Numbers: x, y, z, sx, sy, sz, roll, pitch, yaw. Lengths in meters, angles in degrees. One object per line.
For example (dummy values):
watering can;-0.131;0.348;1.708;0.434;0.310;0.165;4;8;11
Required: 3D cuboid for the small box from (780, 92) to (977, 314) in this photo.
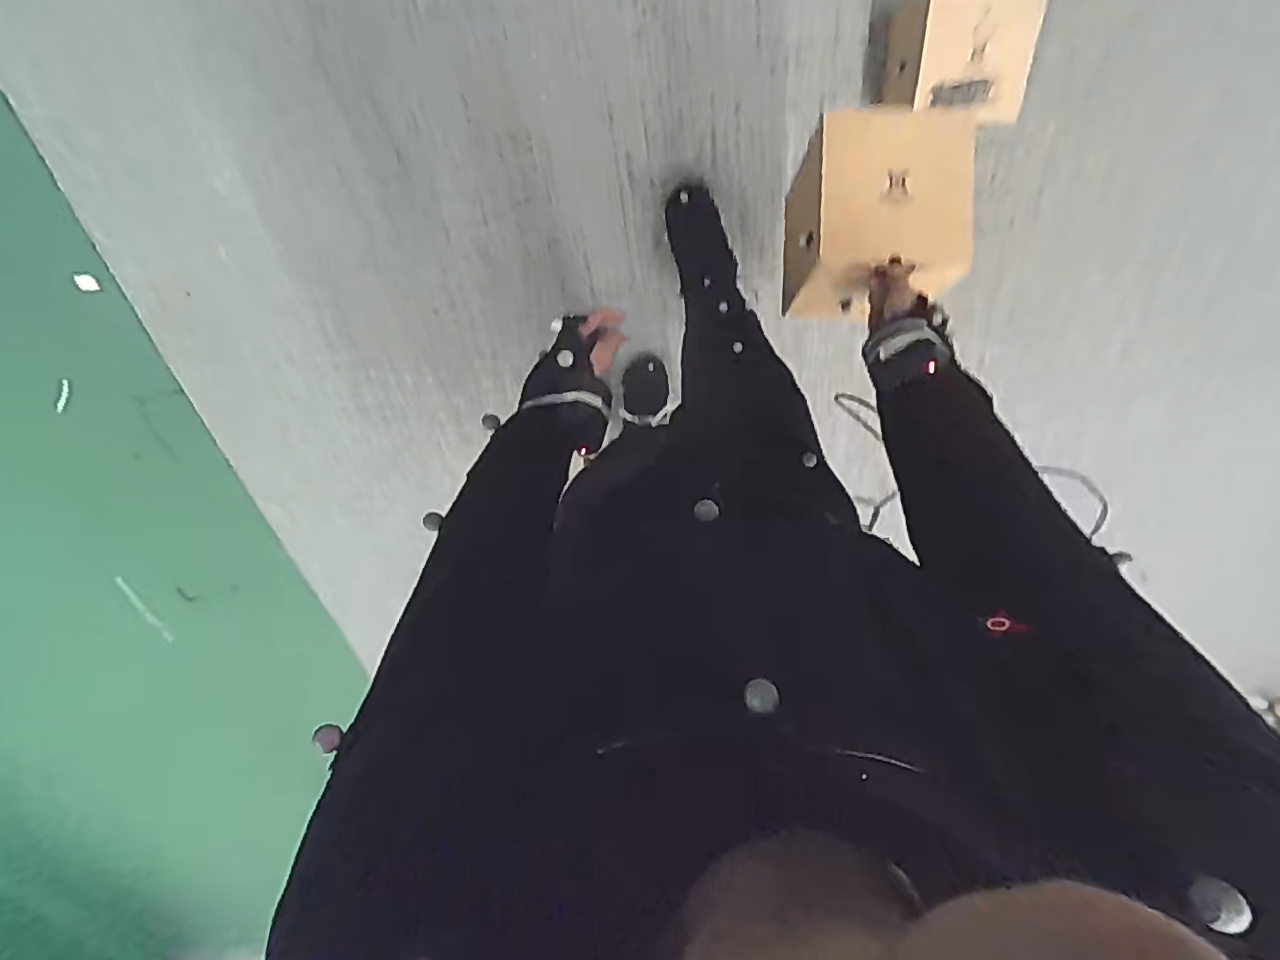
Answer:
small box;0.270;-0.315;0.645;0.168;0.176;0.179;1;88;0
